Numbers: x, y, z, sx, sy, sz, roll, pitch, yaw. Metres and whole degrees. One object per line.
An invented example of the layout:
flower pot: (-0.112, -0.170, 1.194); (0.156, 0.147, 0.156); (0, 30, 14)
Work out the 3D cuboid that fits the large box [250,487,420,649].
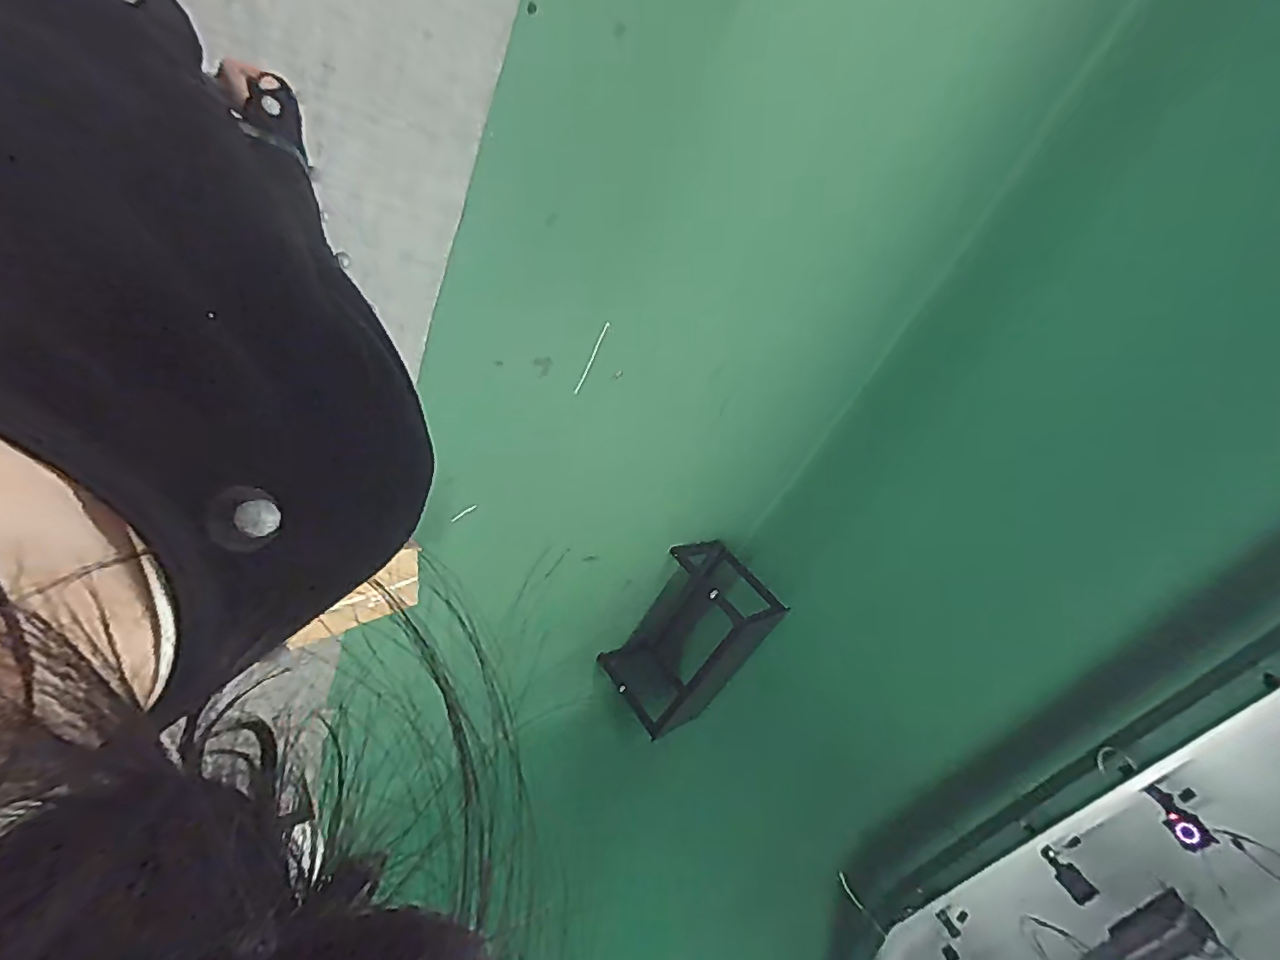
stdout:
large box: (-0.988, 0.273, 1.783); (0.408, 0.320, 0.320); (-18, 142, -37)
